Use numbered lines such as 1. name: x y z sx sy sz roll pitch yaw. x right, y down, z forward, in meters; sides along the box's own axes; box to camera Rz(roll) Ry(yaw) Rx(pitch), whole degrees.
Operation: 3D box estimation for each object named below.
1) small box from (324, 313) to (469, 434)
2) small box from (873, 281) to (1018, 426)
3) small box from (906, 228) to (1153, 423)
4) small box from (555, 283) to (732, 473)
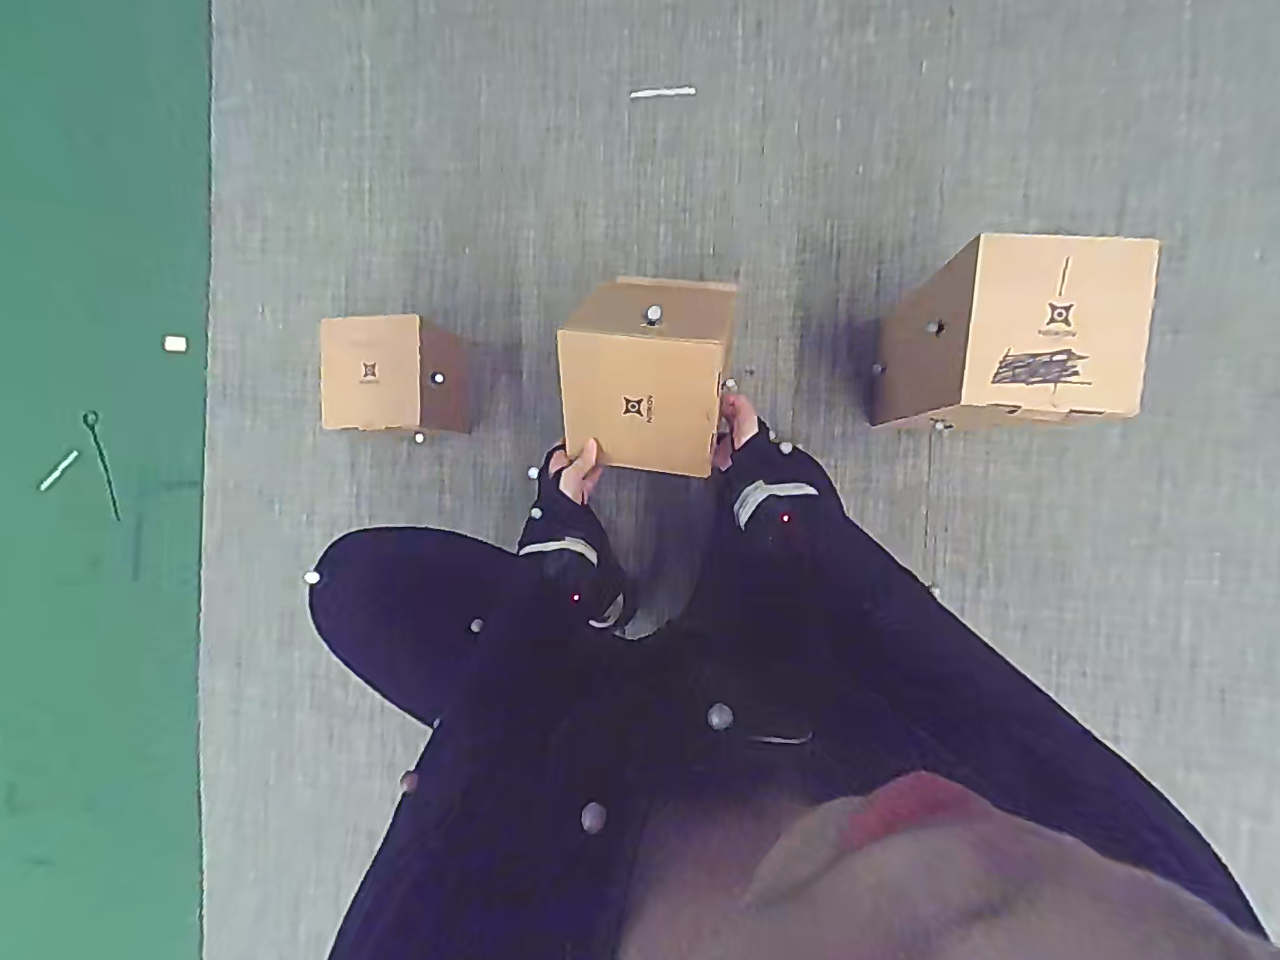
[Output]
1. small box: -0.400 -0.169 0.911 0.168 0.176 0.179 0 91 8
2. small box: 0.447 -0.171 0.780 0.168 0.176 0.179 5 93 8
3. small box: 0.420 -0.162 0.617 0.168 0.176 0.179 6 91 8
4. small box: 0.010 -0.131 0.657 0.179 0.176 0.168 7 128 9
